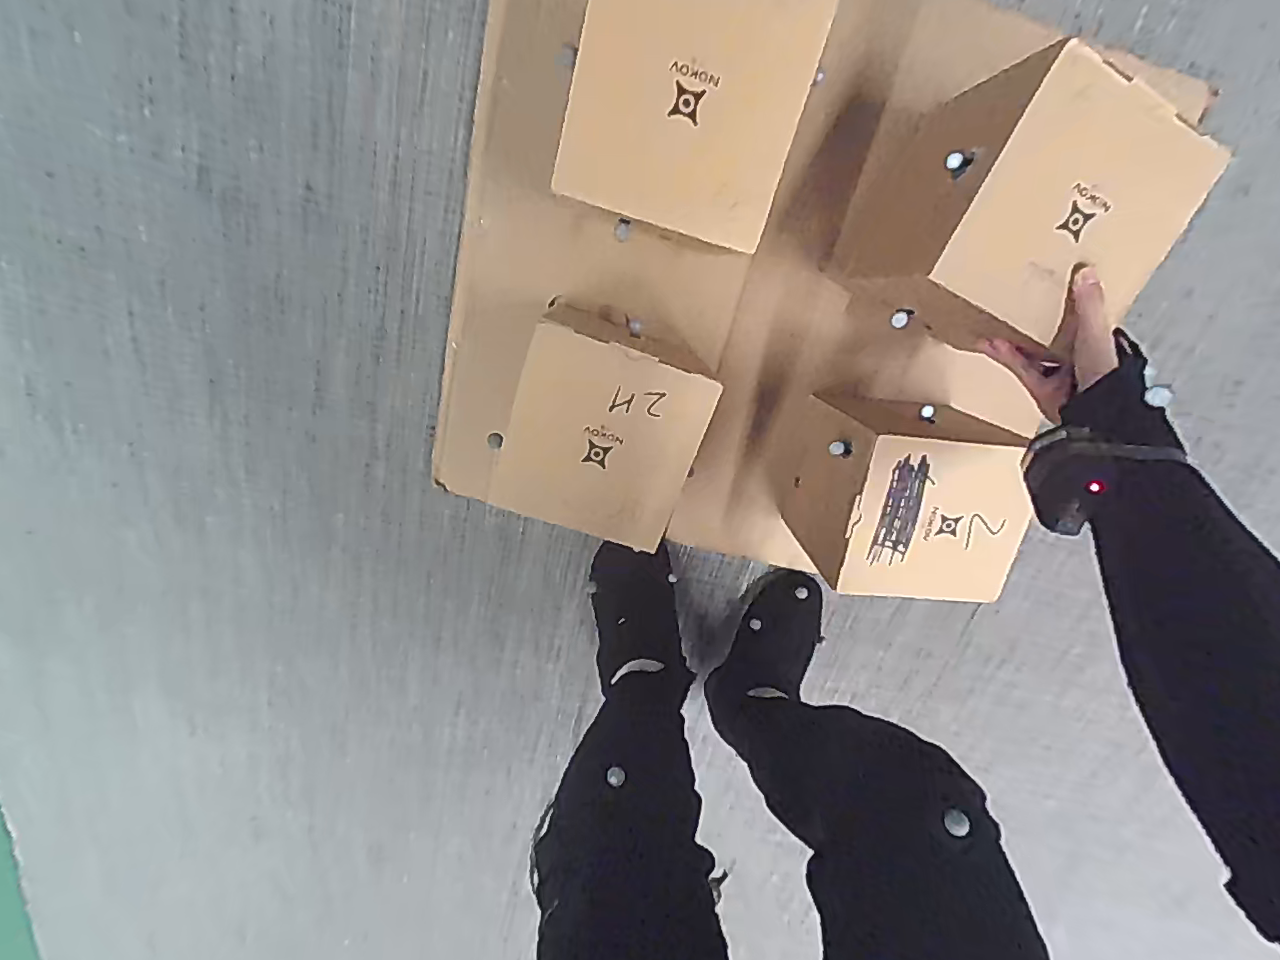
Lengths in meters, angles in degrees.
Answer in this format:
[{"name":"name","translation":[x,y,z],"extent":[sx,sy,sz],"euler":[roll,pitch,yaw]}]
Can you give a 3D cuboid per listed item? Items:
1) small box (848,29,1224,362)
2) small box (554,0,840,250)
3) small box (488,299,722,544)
[{"name":"small box","translation":[0.320,-0.227,0.482],"extent":[0.168,0.176,0.179],"euler":[25,104,-12]},{"name":"small box","translation":[0.034,-0.308,0.459],"extent":[0.168,0.176,0.179],"euler":[14,109,-8]},{"name":"small box","translation":[-0.036,-0.068,0.547],"extent":[0.168,0.176,0.179],"euler":[19,109,-10]}]
